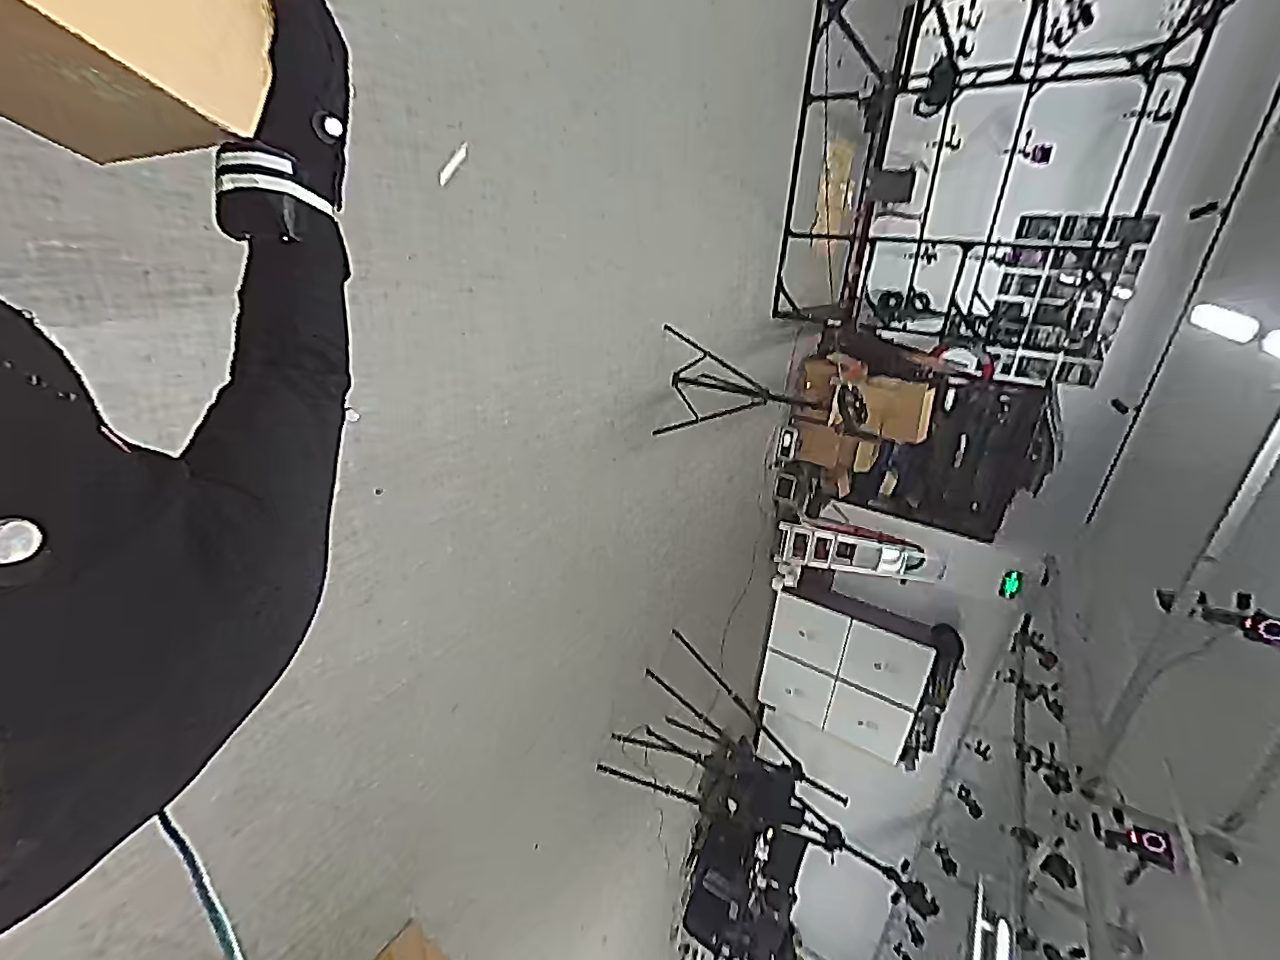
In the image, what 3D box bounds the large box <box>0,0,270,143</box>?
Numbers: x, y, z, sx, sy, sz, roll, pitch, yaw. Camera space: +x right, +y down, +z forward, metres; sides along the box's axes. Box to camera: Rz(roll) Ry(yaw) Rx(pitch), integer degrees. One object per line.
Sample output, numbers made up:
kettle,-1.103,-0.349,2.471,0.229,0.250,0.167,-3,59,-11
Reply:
large box,-0.486,-0.477,0.307,0.408,0.320,0.320,16,89,-62
